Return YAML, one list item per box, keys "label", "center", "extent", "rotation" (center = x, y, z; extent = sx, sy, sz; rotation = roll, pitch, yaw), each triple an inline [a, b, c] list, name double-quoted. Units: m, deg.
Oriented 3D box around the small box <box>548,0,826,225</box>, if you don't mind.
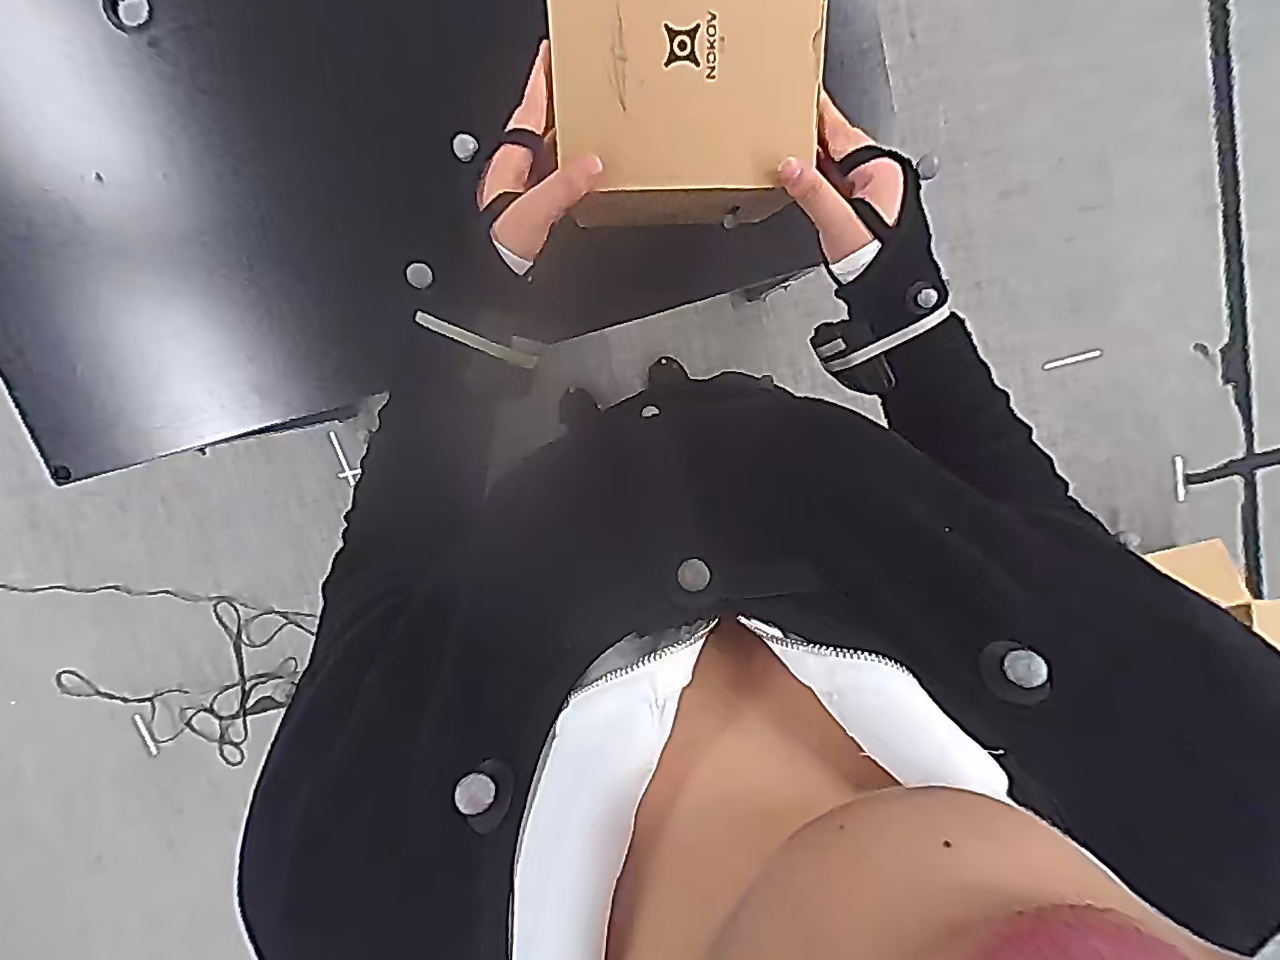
- label: "small box"
  center: [0.028, -0.300, 0.417]
  extent: [0.179, 0.176, 0.168]
  rotation: [-2, 107, 0]
